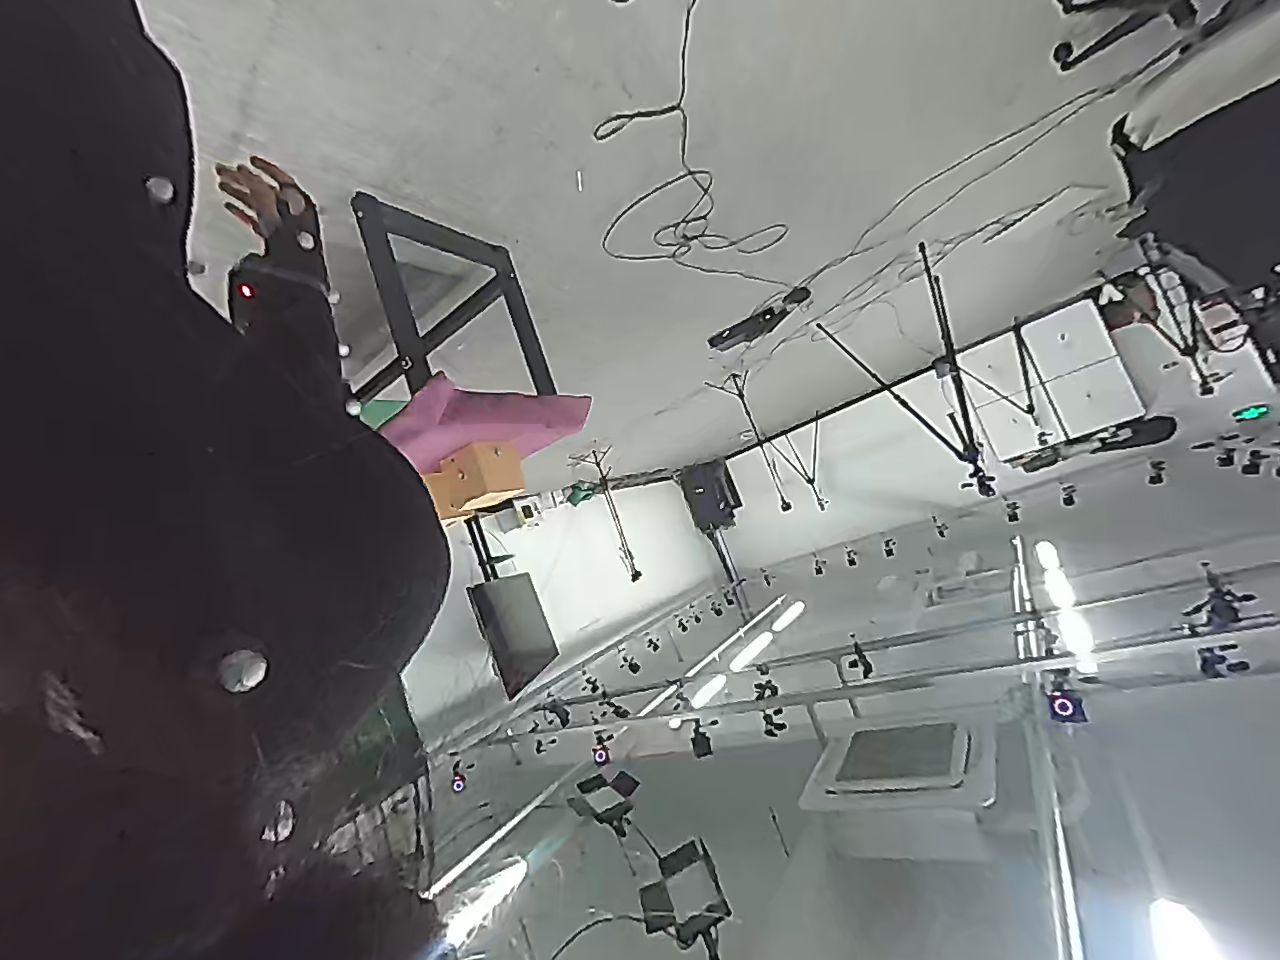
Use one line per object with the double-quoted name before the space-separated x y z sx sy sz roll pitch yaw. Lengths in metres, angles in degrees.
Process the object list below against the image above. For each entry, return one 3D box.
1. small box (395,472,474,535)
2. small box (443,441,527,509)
"small box" -0.708 0.075 1.862 0.168 0.176 0.179 -25 171 35
"small box" -0.497 -0.020 1.726 0.168 0.176 0.179 -23 171 29
